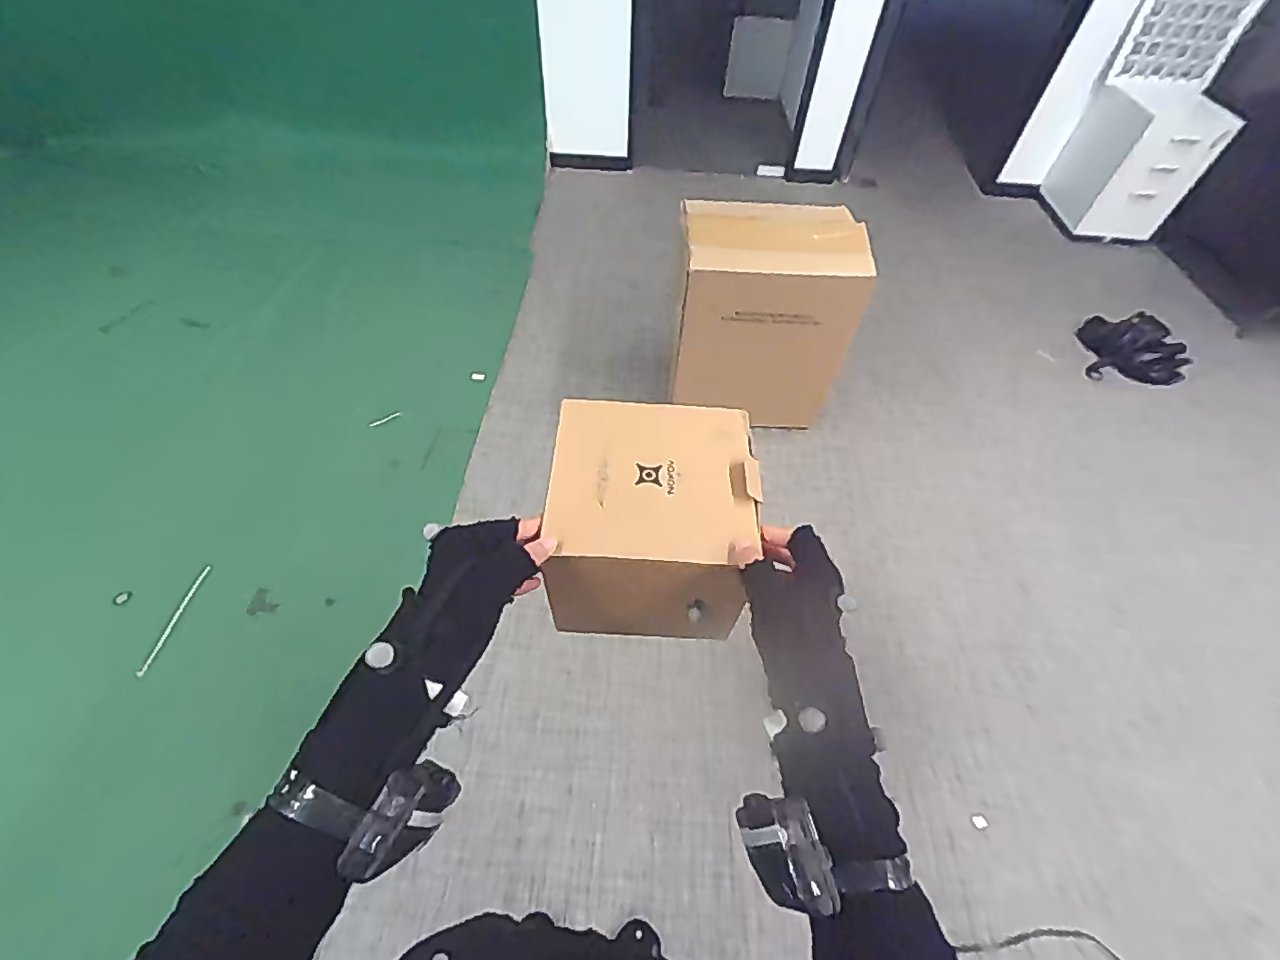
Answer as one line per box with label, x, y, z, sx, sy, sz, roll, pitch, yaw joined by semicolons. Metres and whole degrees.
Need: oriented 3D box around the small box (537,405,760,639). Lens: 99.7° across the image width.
small box;0.007;0.047;0.528;0.179;0.176;0.168;1;53;0
